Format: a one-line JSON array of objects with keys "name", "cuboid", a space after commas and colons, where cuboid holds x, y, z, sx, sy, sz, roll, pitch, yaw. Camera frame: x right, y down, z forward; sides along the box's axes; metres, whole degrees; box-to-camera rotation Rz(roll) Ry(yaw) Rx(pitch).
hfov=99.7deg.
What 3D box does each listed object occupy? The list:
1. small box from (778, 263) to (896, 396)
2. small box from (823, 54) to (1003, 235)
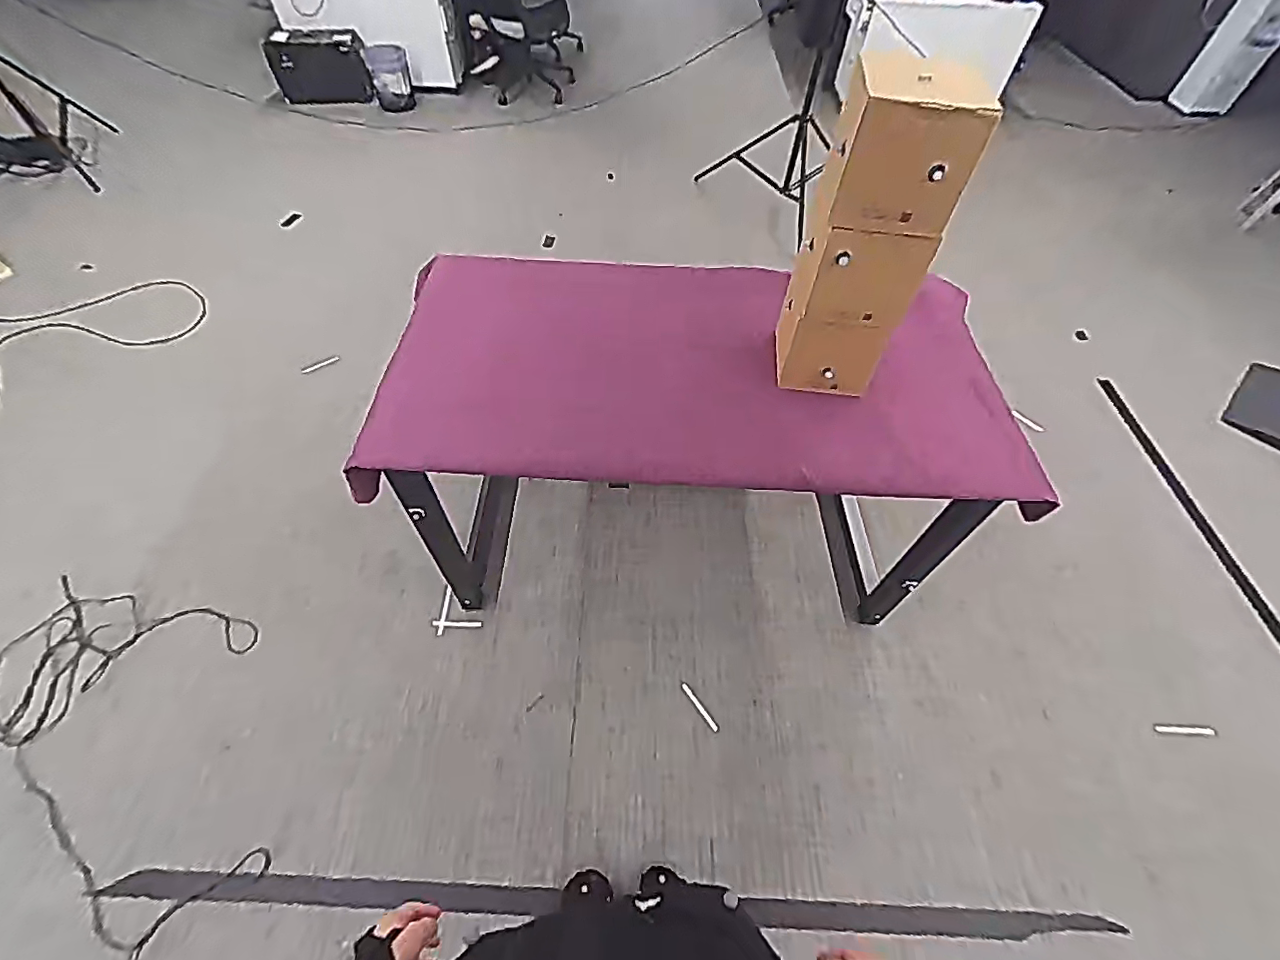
[{"name": "small box", "cuboid": [0.367, -0.288, 1.041, 0.168, 0.176, 0.179, 6, 54, 3]}, {"name": "small box", "cuboid": [0.371, -0.475, 0.774, 0.168, 0.176, 0.179, 9, 53, 3]}]
